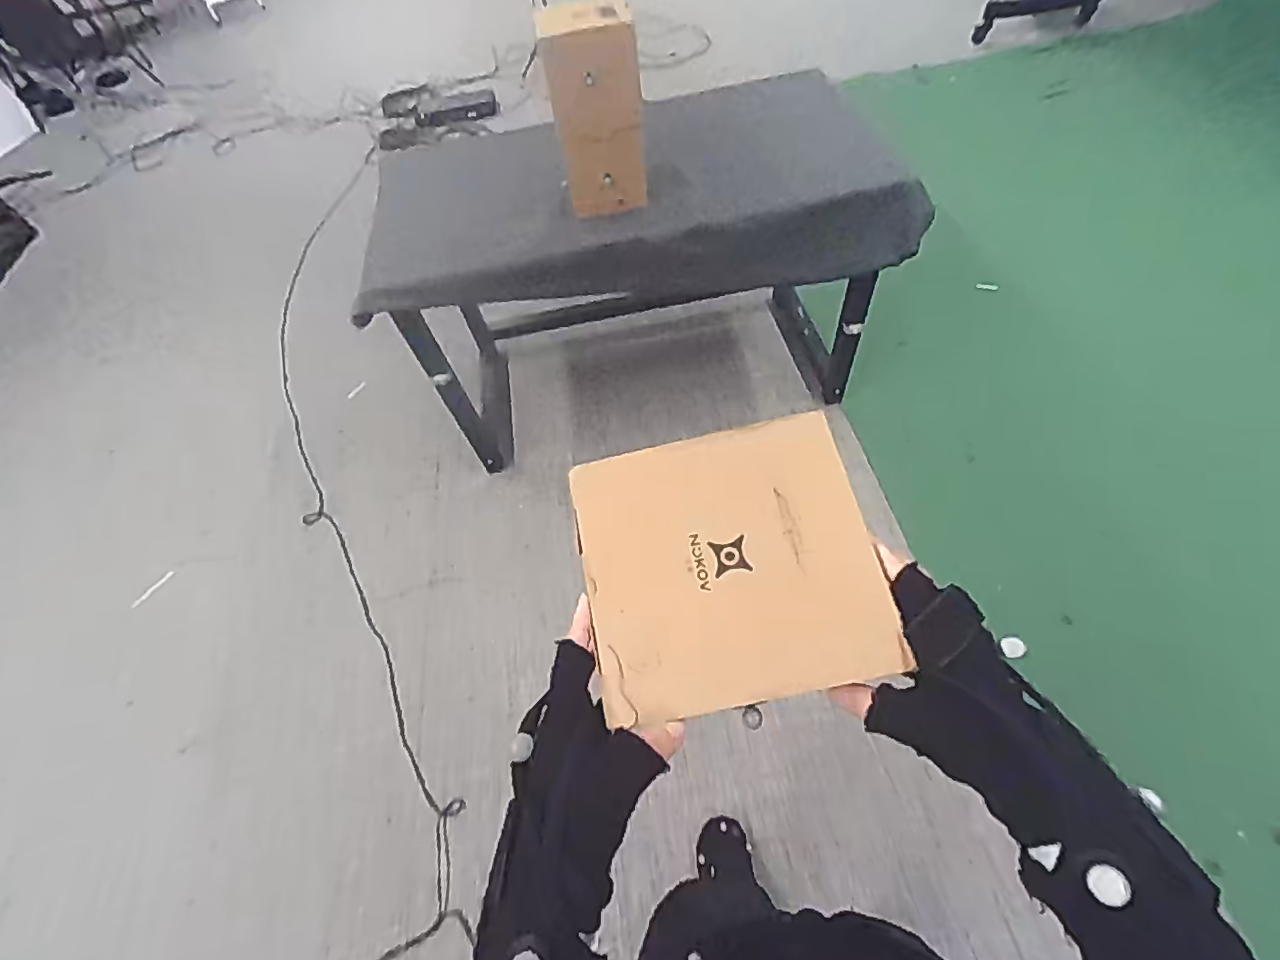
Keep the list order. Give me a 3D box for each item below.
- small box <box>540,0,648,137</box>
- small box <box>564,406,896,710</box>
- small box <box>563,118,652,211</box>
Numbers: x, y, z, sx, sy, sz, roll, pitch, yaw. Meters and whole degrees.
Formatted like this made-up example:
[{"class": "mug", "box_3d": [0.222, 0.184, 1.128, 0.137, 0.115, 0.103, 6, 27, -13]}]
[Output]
[{"class": "small box", "box_3d": [-0.083, -0.796, 1.039, 0.179, 0.176, 0.168, -12, 56, -2]}, {"class": "small box", "box_3d": [0.056, 0.070, 0.408, 0.179, 0.176, 0.168, -12, 69, 2]}, {"class": "small box", "box_3d": [-0.072, -0.712, 1.181, 0.168, 0.176, 0.179, -11, 57, 0]}]
